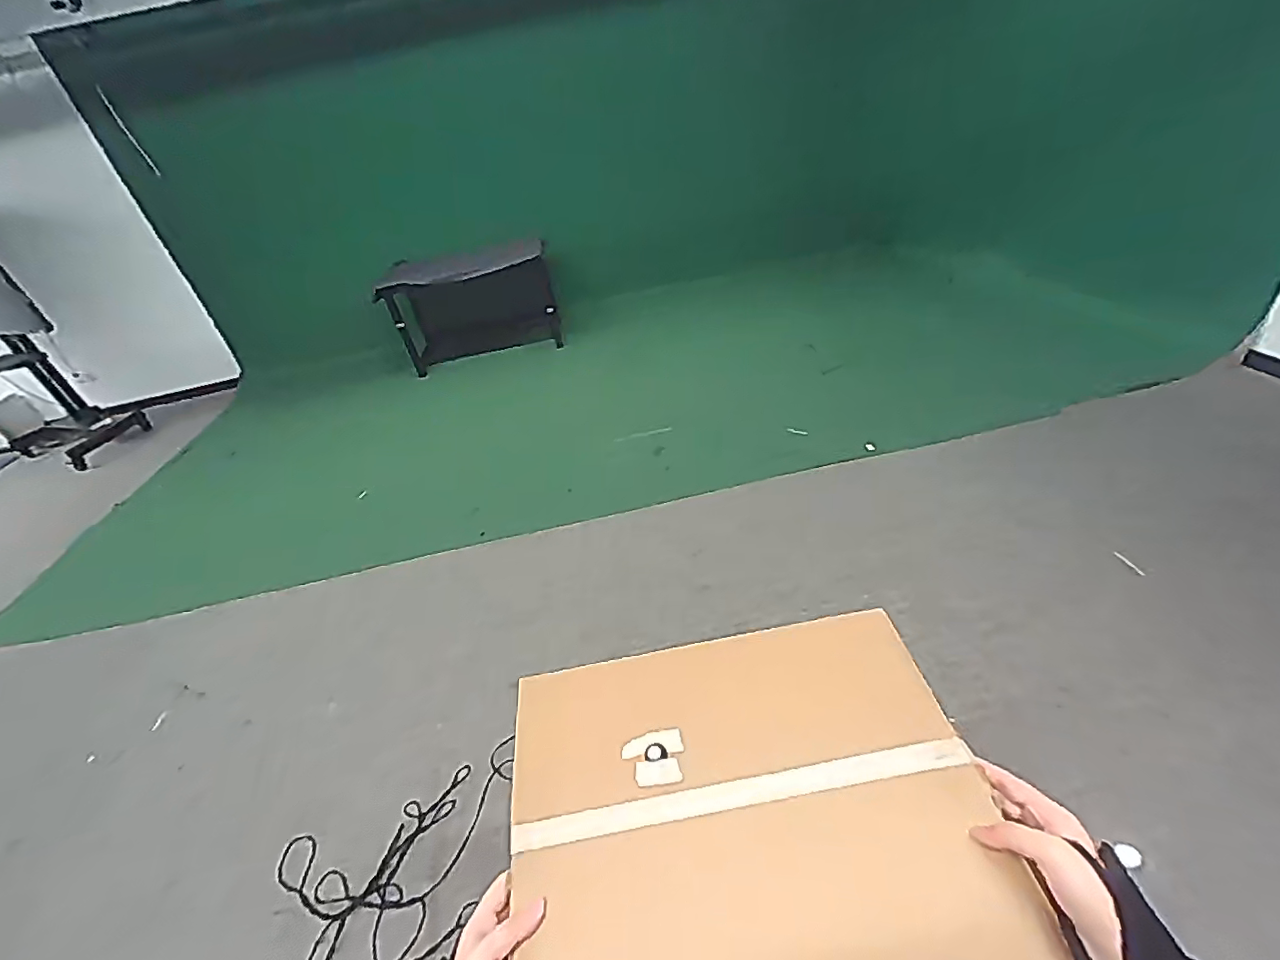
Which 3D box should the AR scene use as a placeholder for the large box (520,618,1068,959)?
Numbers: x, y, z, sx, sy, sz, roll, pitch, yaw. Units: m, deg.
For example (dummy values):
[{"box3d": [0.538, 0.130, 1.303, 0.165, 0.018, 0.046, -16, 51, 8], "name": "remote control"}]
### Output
[{"box3d": [0.116, 0.401, 0.579, 0.408, 0.320, 0.320, -13, 41, 2], "name": "large box"}]
